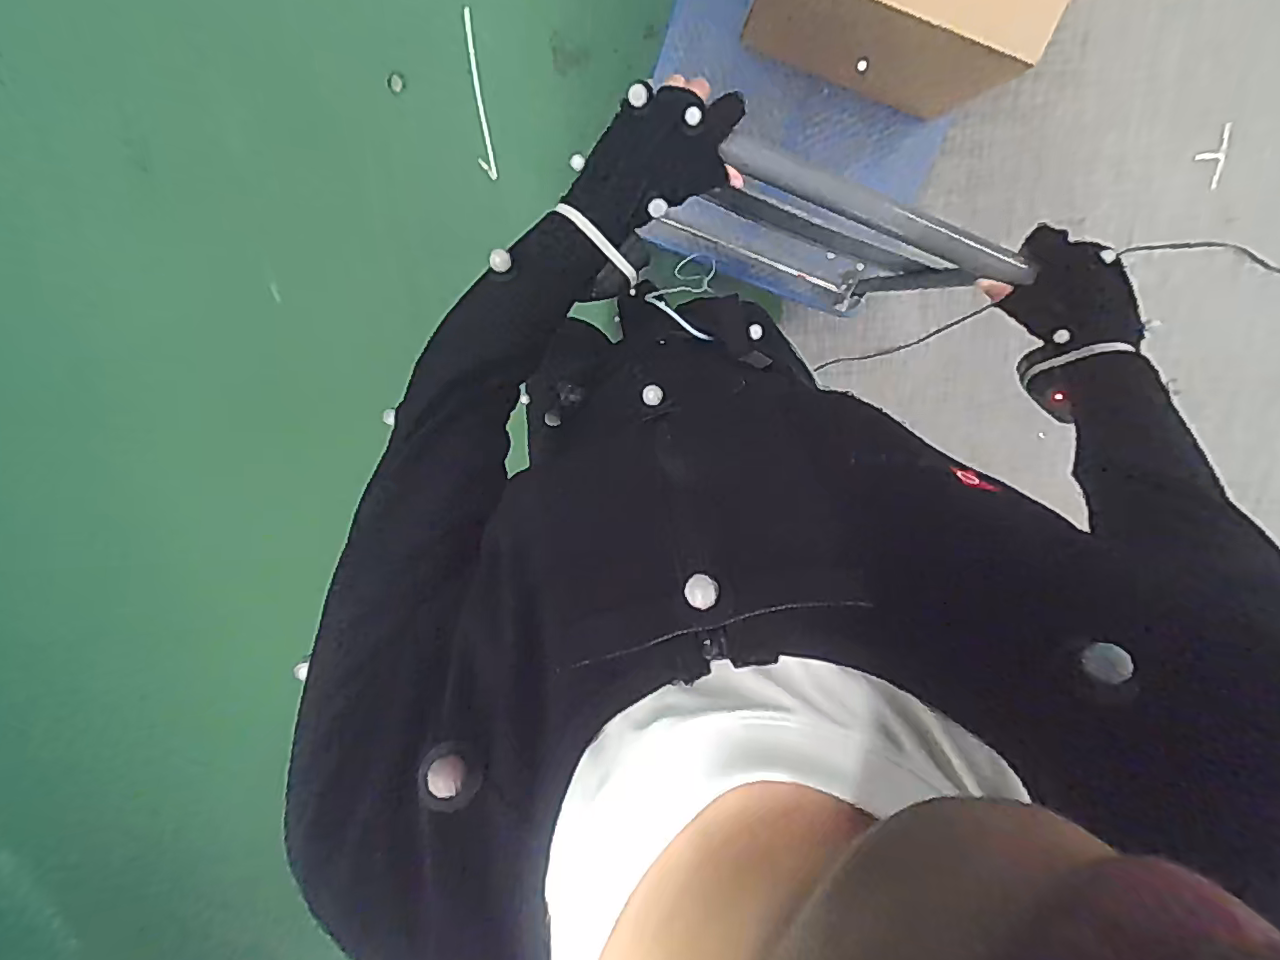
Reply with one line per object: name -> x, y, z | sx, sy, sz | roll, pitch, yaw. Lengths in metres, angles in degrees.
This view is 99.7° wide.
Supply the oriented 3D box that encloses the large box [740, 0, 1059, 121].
large box -> 0.415, -0.827, 0.843 | 0.408, 0.320, 0.320 | 18, 109, -4
